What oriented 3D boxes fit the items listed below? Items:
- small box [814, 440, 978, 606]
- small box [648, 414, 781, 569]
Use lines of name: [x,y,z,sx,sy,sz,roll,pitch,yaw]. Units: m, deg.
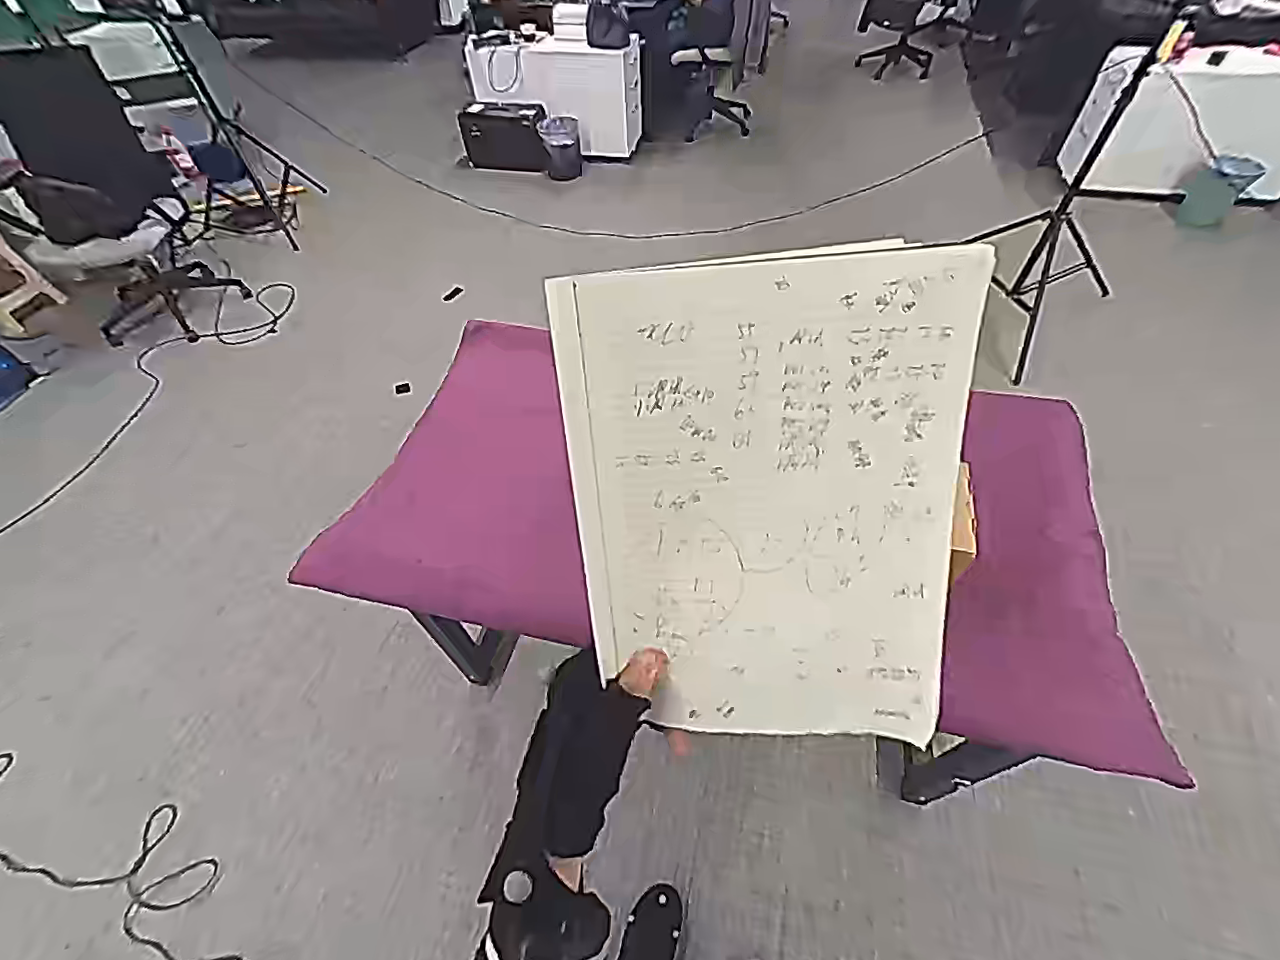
small box: [0.373,0.068,0.811,0.179,0.176,0.168,11,50,14]
small box: [0.116,0.023,0.860,0.179,0.176,0.168,10,52,10]
